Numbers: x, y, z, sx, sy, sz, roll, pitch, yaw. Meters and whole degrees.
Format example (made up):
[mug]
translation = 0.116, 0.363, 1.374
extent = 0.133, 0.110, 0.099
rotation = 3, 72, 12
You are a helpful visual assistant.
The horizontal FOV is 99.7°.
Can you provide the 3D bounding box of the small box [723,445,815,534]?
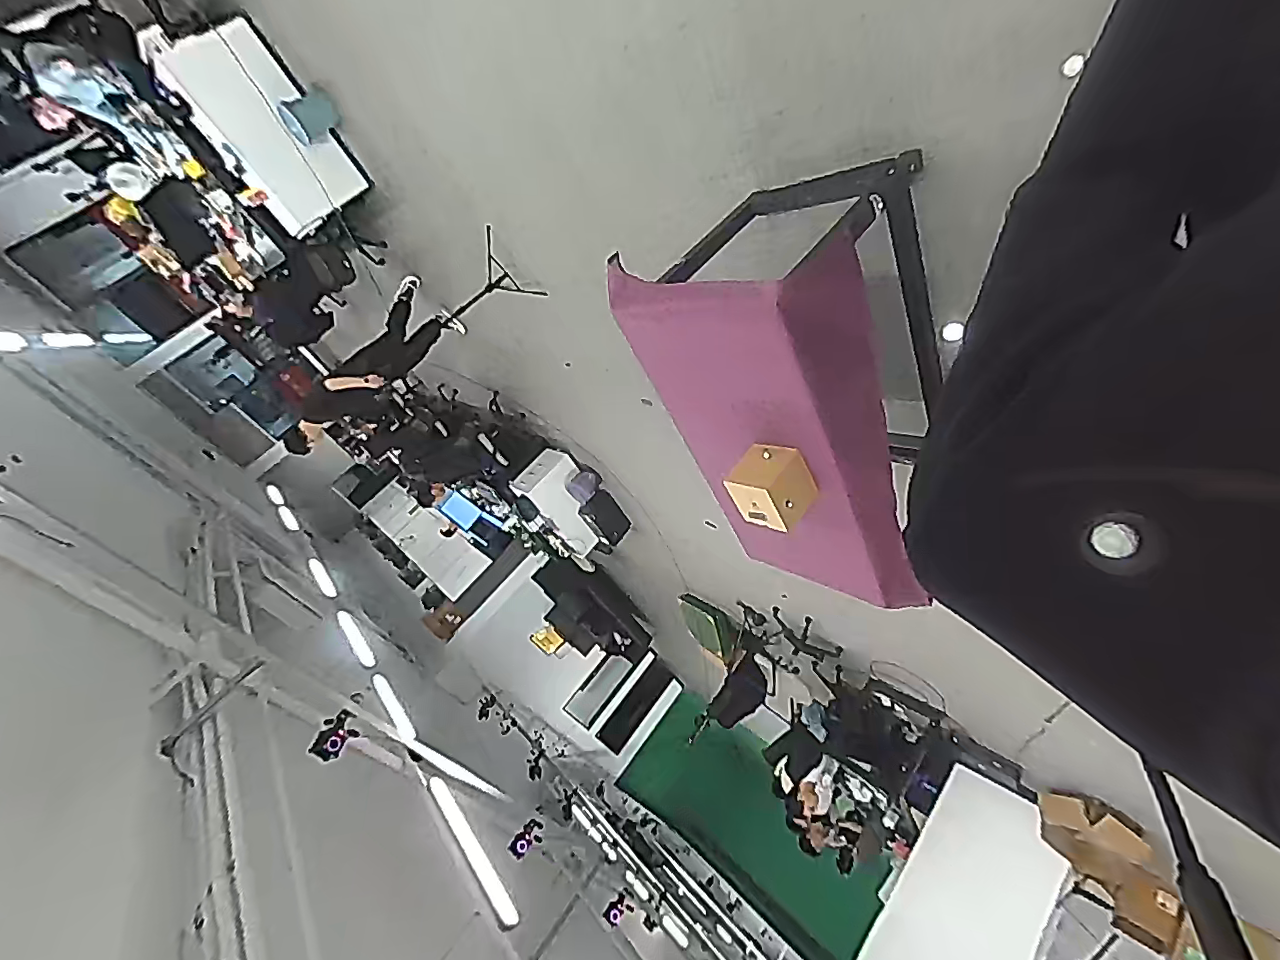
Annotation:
[small box]
translation = 0.380, 0.024, 1.572
extent = 0.168, 0.176, 0.179
rotation = 14, 145, 52
